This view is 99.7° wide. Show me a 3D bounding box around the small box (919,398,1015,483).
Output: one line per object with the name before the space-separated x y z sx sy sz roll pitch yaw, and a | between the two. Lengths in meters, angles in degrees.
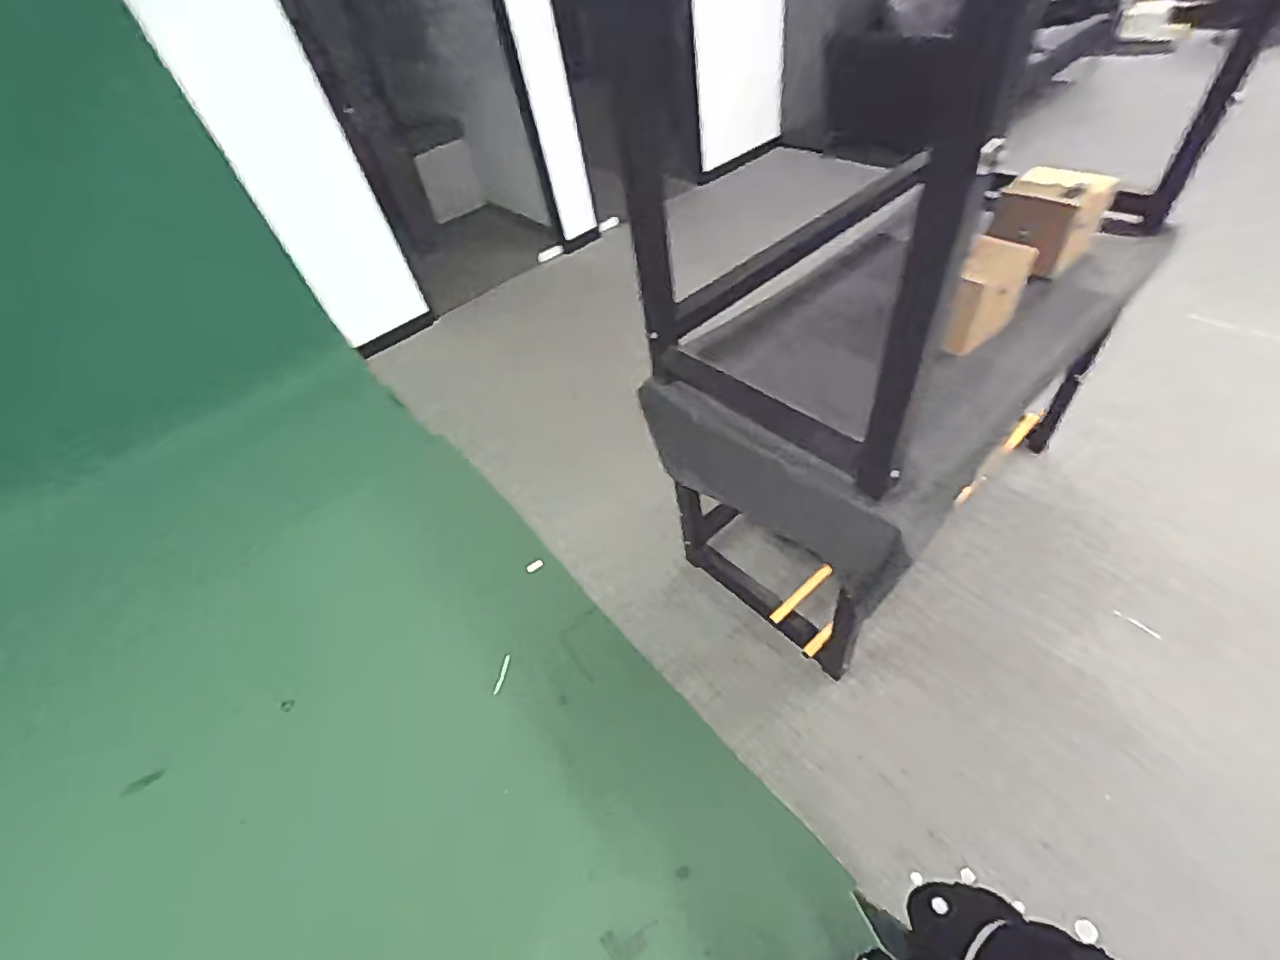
small box | 1.004 -0.115 1.674 0.168 0.176 0.179 -34 51 -19

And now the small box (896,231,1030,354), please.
small box | 0.668 -0.394 1.143 0.179 0.176 0.168 -34 51 -19
